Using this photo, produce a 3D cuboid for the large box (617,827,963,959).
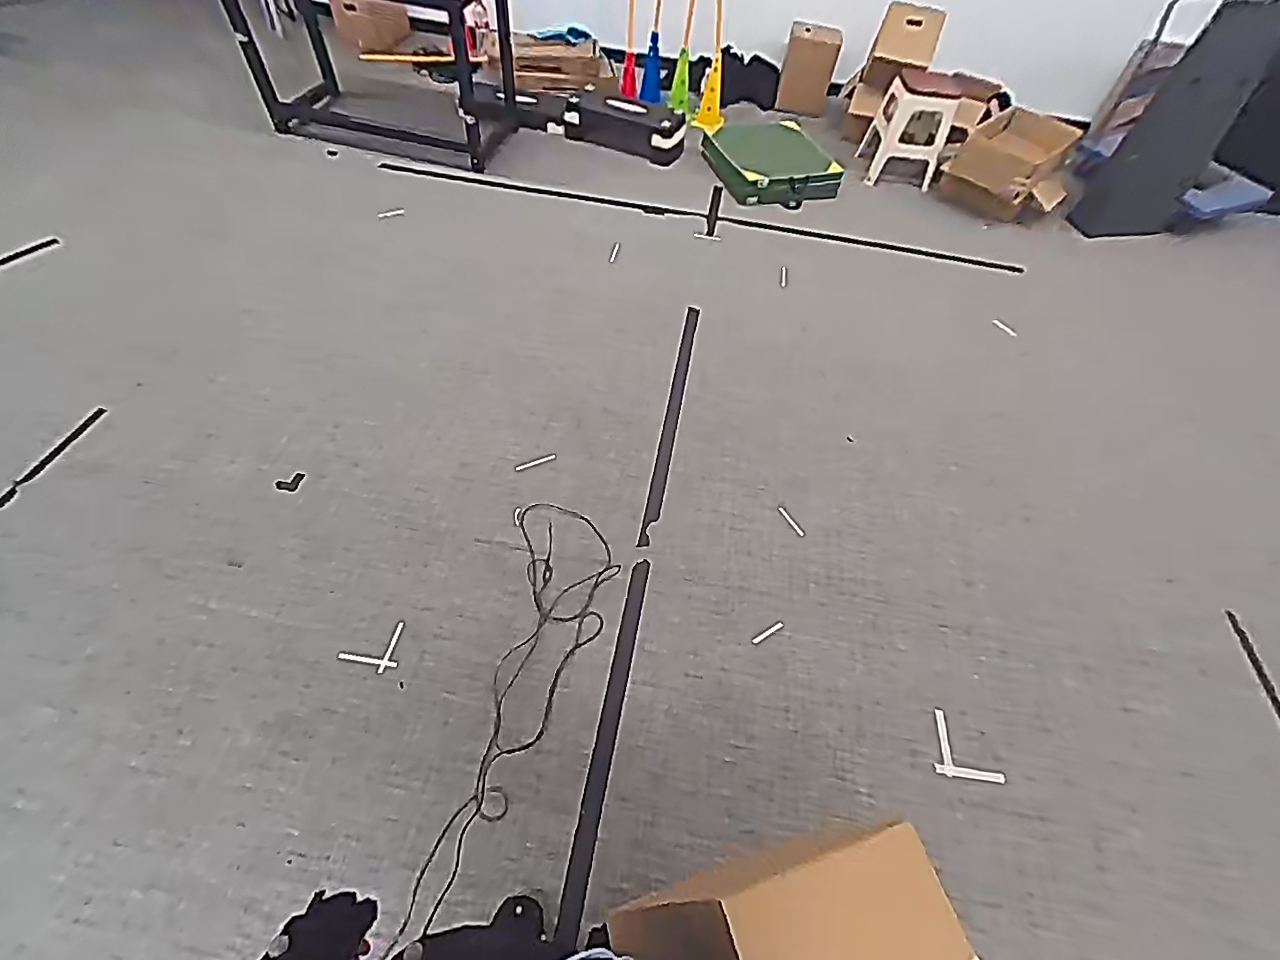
[{"bbox_3d":[0.202,0.710,0.723,0.320,0.408,0.320,0,52,-24],"label":"large box"}]
